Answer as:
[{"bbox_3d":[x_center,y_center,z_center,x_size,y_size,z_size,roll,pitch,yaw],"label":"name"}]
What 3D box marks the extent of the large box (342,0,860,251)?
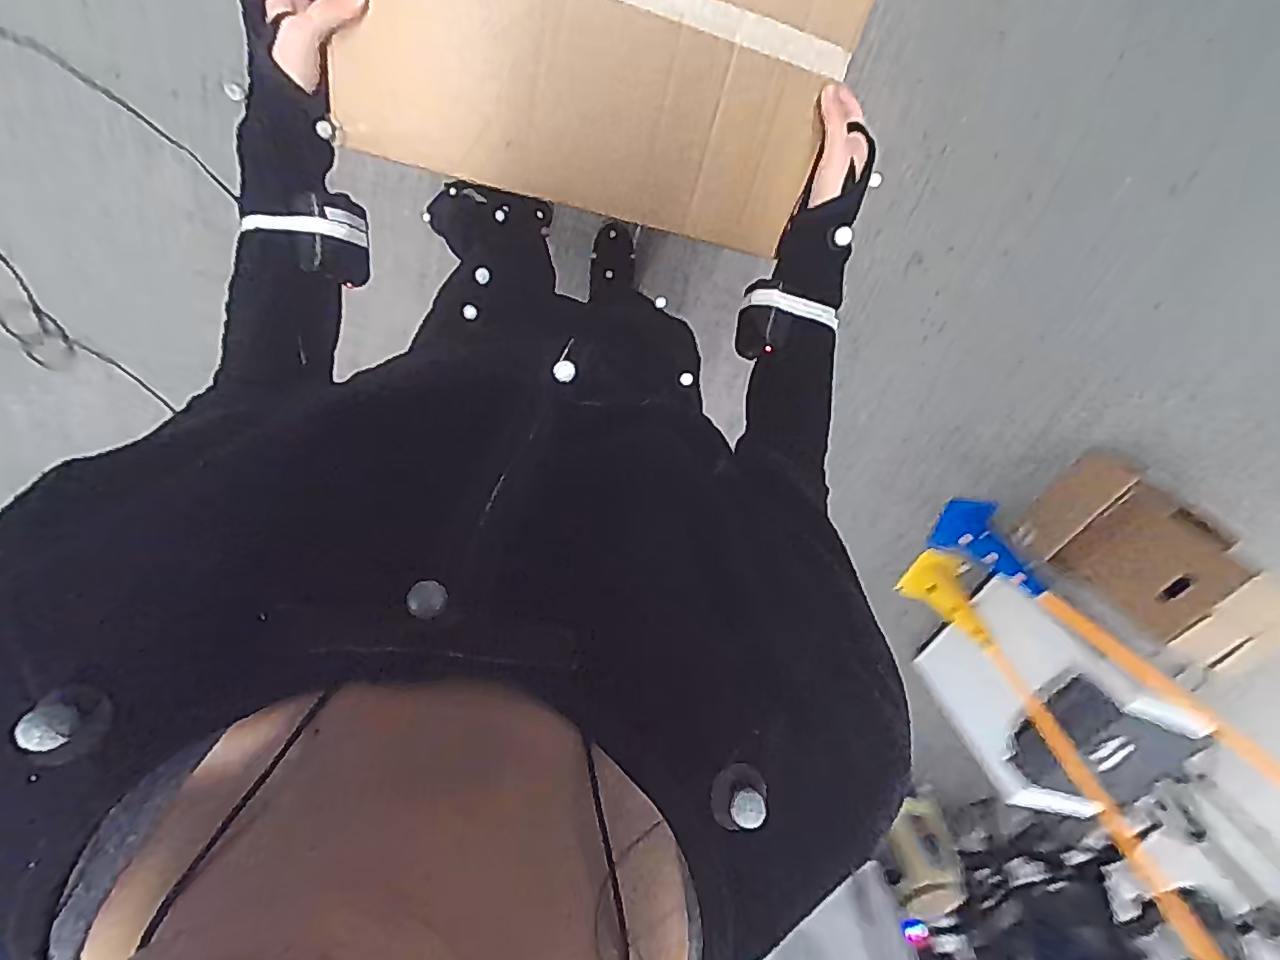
[{"bbox_3d":[-0.040,-0.459,0.547,0.408,0.320,0.320,7,122,-14],"label":"large box"}]
